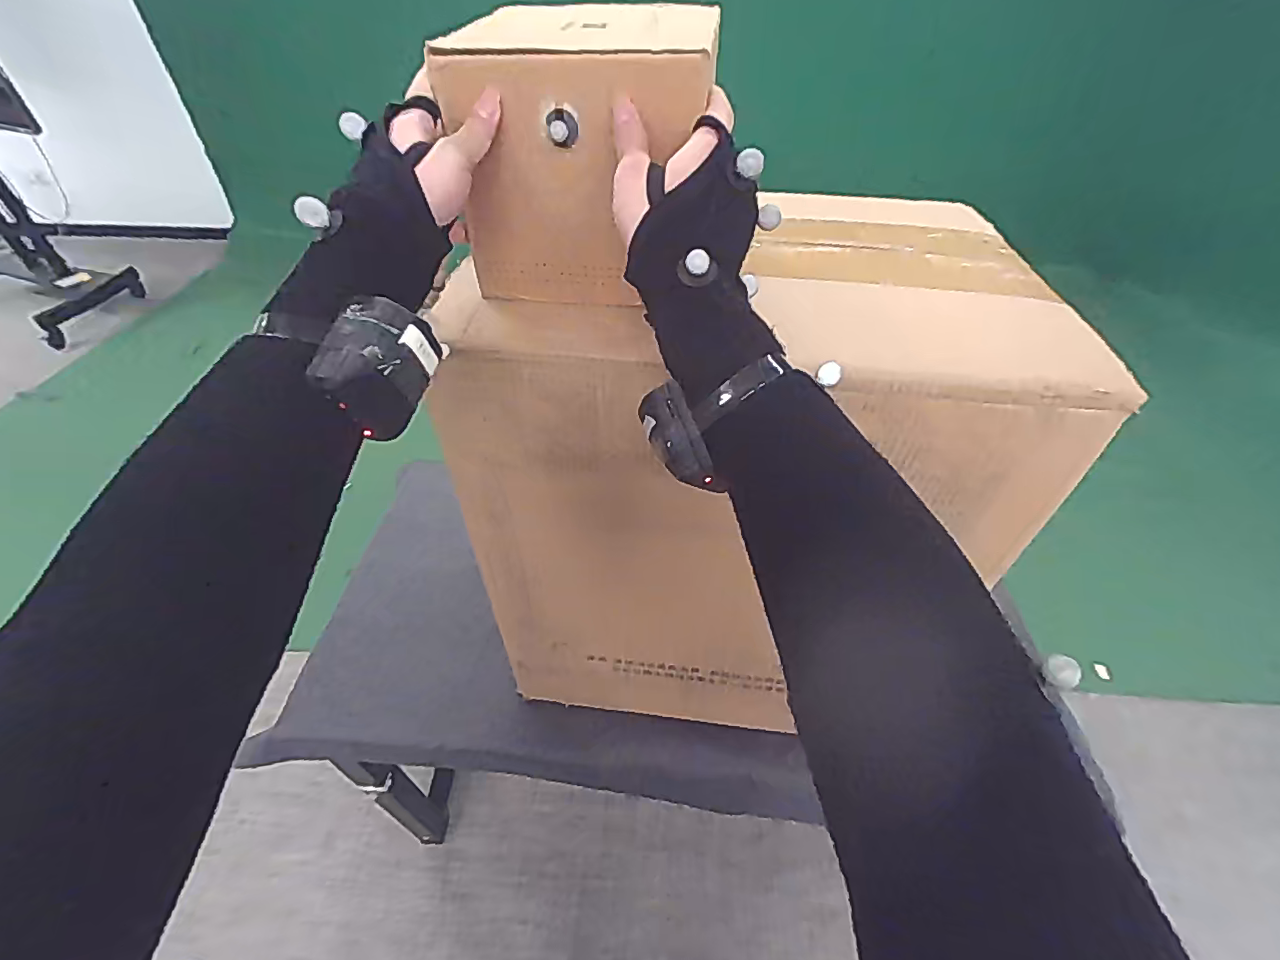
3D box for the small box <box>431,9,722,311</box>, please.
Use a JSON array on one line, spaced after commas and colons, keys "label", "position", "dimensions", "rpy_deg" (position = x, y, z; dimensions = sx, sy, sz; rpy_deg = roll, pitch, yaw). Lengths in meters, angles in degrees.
[{"label": "small box", "position": [-0.033, -0.253, 0.432], "dimensions": [0.179, 0.176, 0.168], "rpy_deg": [6, 48, 4]}]
